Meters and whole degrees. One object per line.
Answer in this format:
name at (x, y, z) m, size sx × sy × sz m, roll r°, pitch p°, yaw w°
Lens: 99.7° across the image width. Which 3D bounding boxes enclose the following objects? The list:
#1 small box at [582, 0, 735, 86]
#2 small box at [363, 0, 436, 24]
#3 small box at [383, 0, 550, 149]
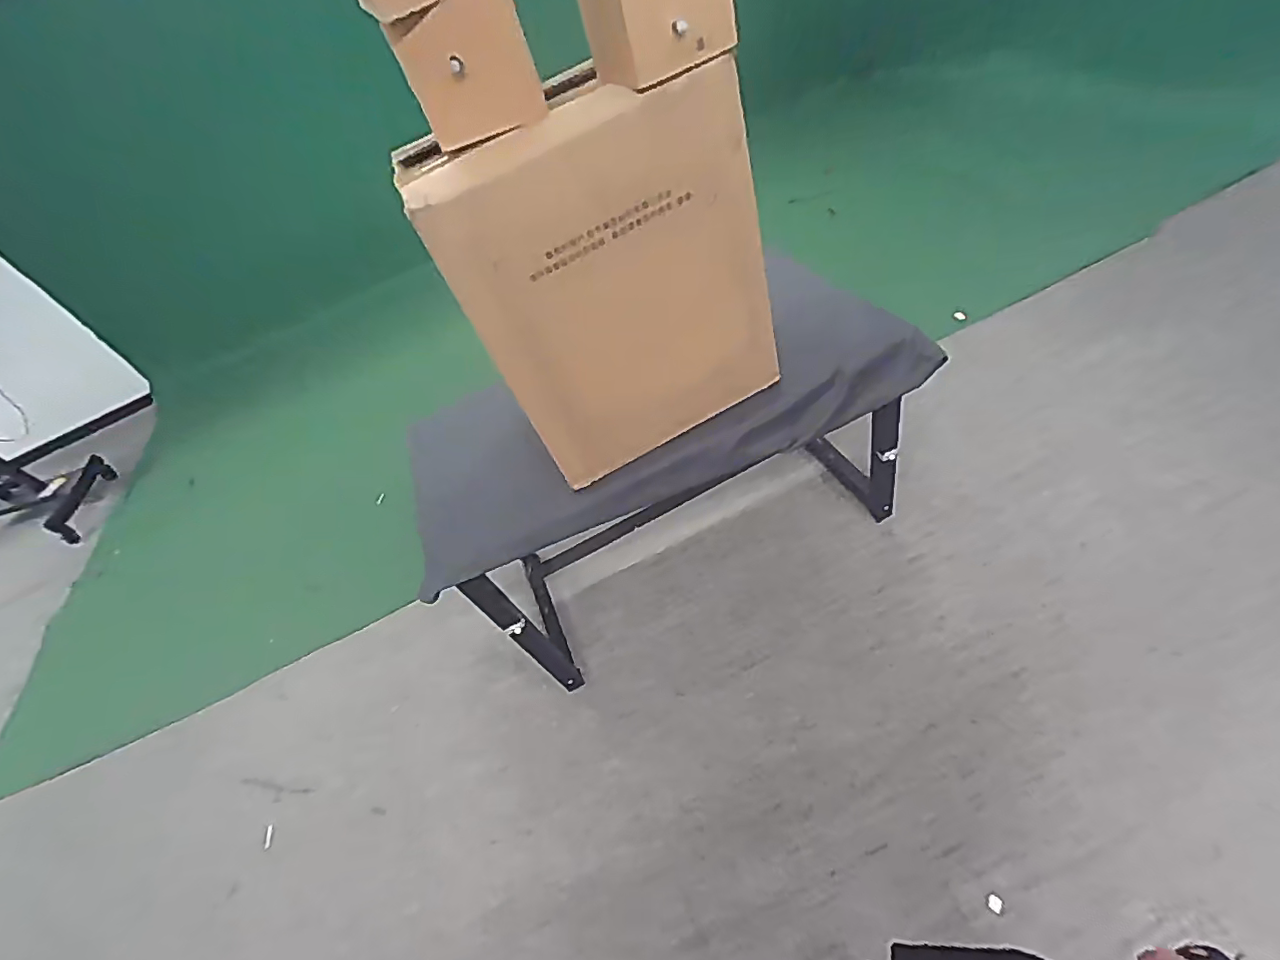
small box at (0.017, -0.698, 0.778) m, size 0.168 × 0.176 × 0.179 m, roll -28°, pitch 47°, yaw -5°
small box at (-0.308, -0.722, 0.687) m, size 0.179 × 0.176 × 0.168 m, roll -32°, pitch 55°, yaw -8°
small box at (-0.254, -0.640, 0.817) m, size 0.179 × 0.176 × 0.168 m, roll -18°, pitch 55°, yaw 5°
